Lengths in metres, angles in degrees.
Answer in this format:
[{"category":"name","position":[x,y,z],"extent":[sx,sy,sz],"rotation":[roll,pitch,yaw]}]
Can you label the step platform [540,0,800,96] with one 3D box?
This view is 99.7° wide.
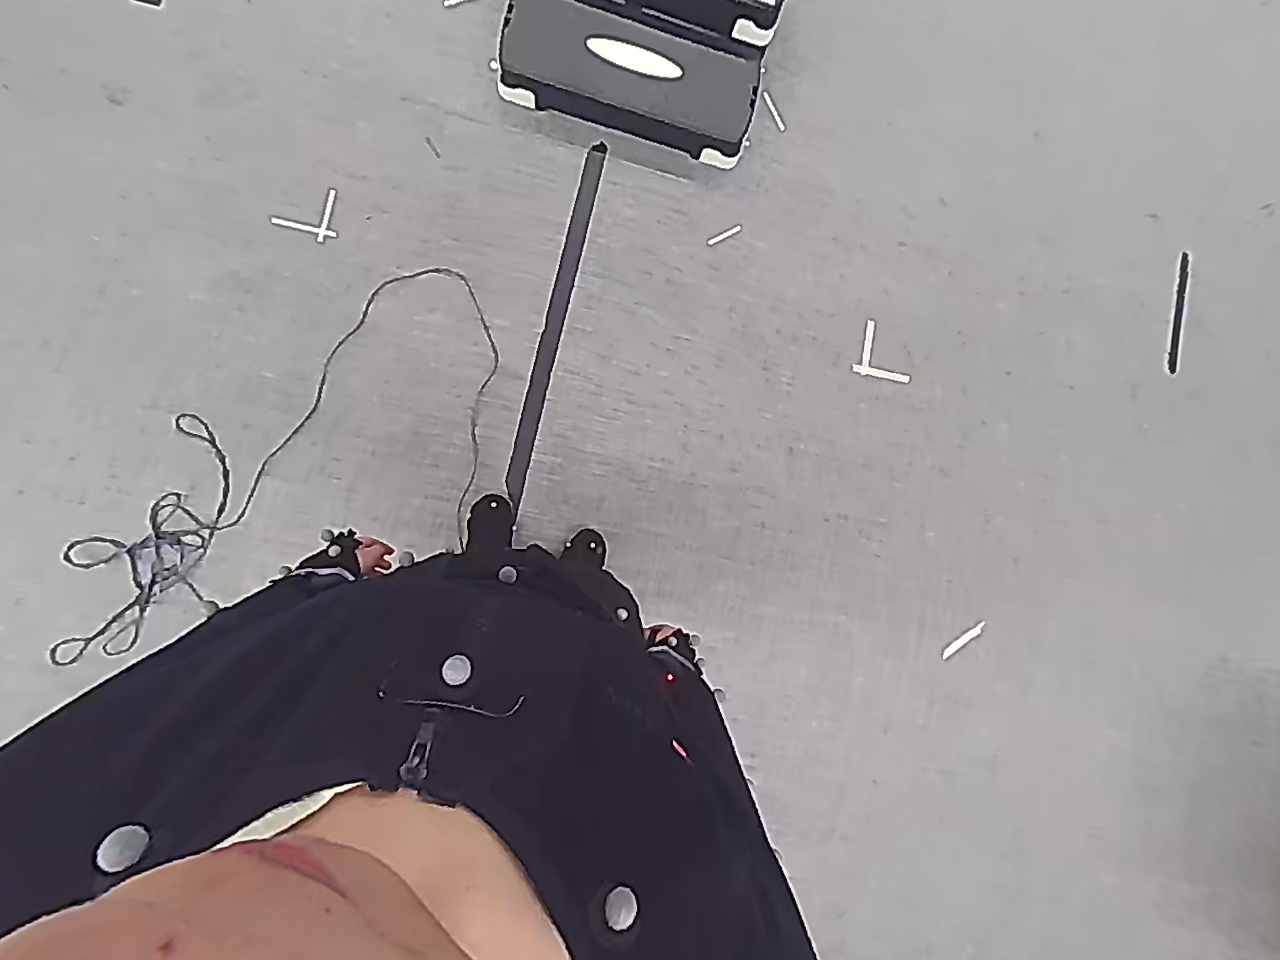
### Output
[{"category":"step platform","position":[0.082,-1.316,1.427],"extent":[0.684,0.204,0.286],"rotation":[17,84,-7]}]
